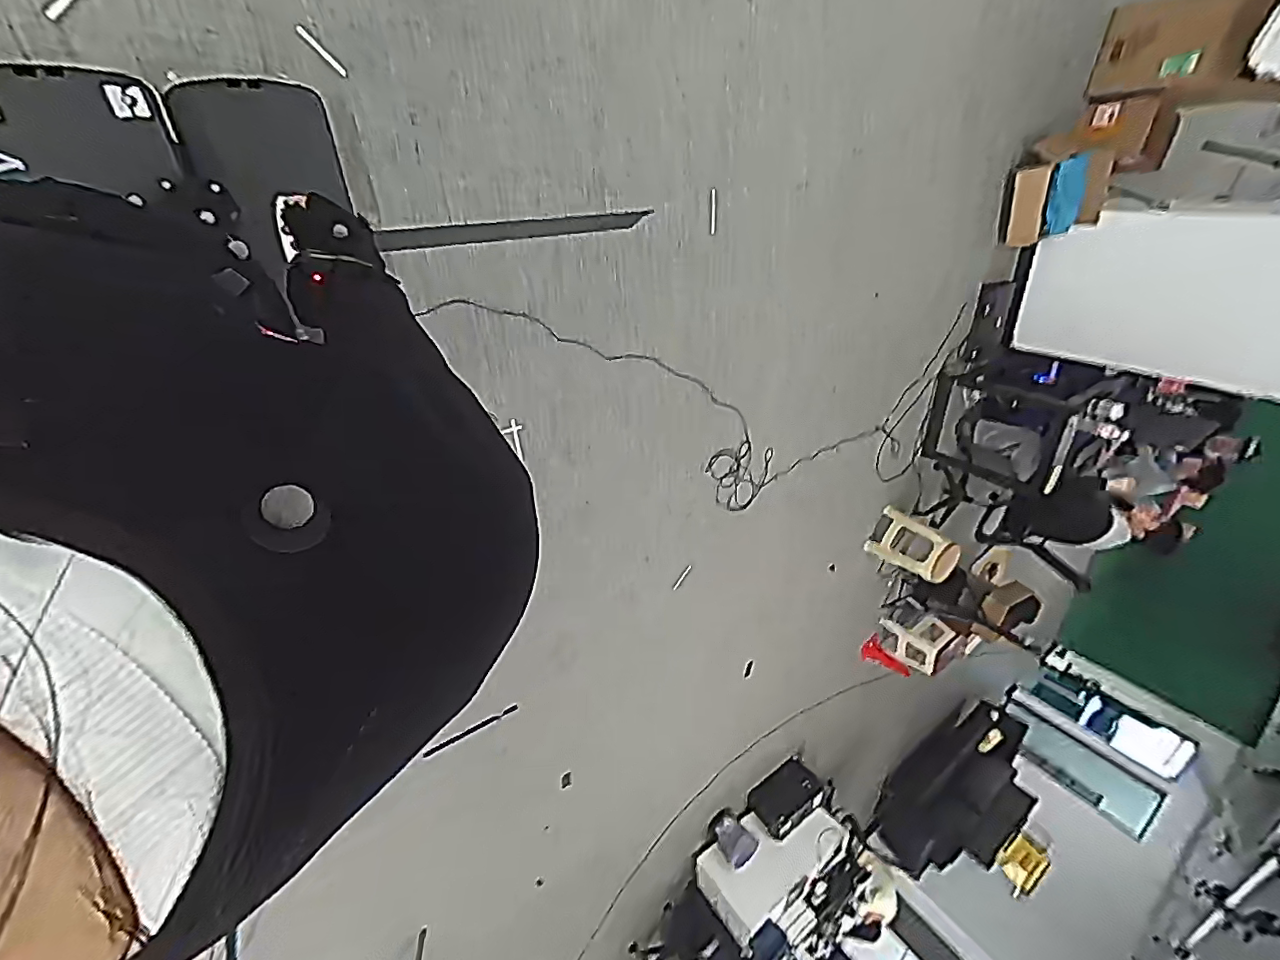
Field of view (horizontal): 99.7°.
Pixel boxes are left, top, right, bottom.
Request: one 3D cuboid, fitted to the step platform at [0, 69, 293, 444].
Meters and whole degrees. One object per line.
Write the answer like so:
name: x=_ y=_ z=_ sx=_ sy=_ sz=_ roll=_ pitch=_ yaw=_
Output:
step platform: x=-0.992 y=-0.418 z=1.112 sx=0.286 sy=0.204 sz=0.684 roll=-23 pitch=124 yaw=-29
